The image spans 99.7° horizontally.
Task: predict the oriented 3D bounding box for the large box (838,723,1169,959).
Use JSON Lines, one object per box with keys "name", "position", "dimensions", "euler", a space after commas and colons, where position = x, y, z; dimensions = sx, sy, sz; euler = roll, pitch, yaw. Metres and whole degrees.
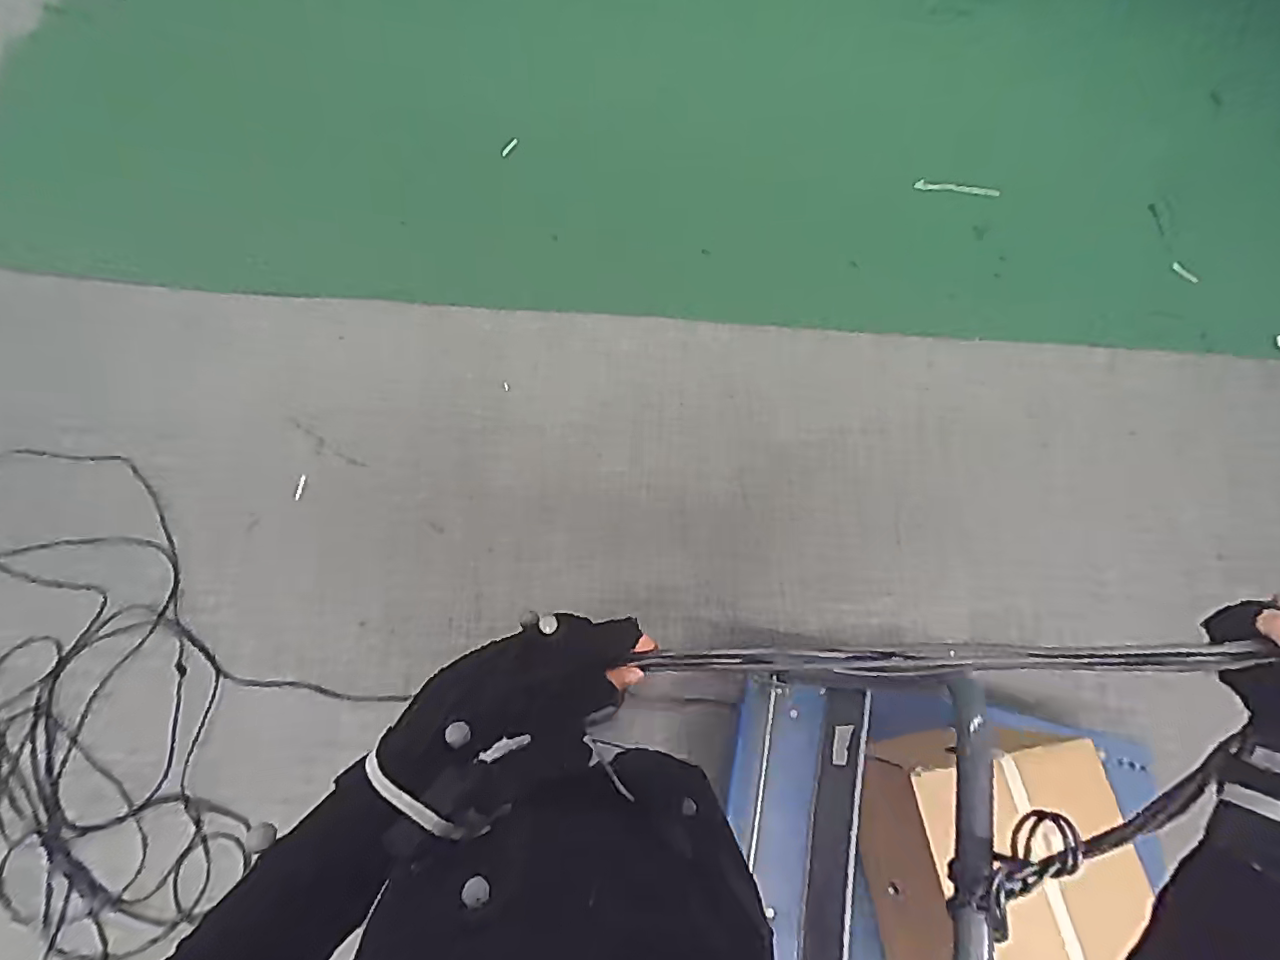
{"name": "large box", "position": [0.591, 0.668, 0.938], "dimensions": [0.320, 0.320, 0.408], "euler": [-6, 69, -5]}
